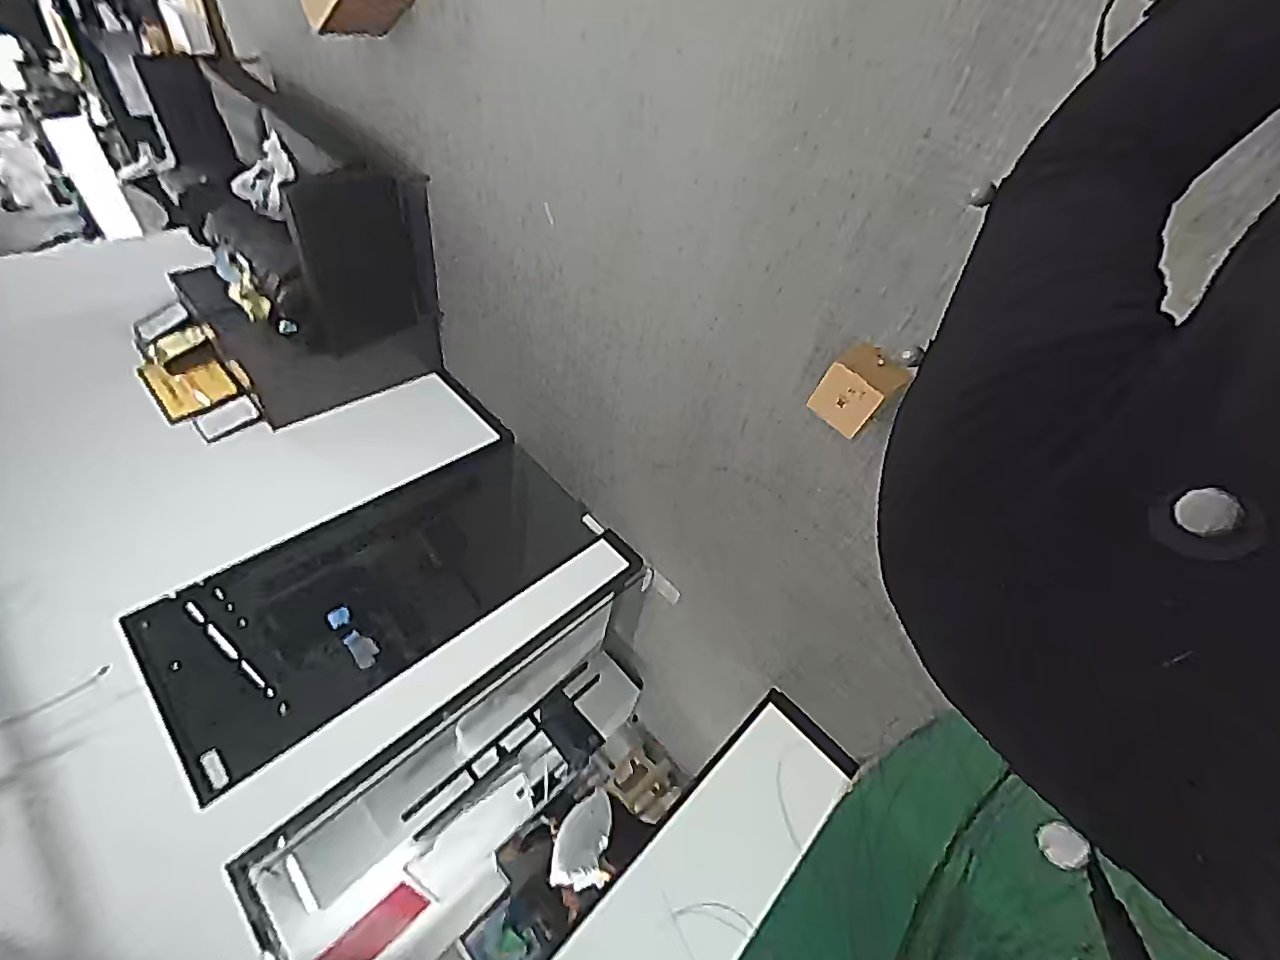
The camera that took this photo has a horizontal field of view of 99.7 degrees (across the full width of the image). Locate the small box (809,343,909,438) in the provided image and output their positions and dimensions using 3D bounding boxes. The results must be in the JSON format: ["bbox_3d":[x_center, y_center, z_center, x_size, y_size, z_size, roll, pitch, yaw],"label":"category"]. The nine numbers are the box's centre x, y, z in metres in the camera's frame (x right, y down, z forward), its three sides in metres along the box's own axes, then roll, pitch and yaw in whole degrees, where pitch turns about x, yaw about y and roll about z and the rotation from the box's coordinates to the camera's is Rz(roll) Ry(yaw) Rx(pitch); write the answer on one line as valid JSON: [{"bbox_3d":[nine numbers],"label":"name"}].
[{"bbox_3d":[0.622,-0.257,1.532,0.168,0.176,0.179,45,144,18],"label":"small box"}]
